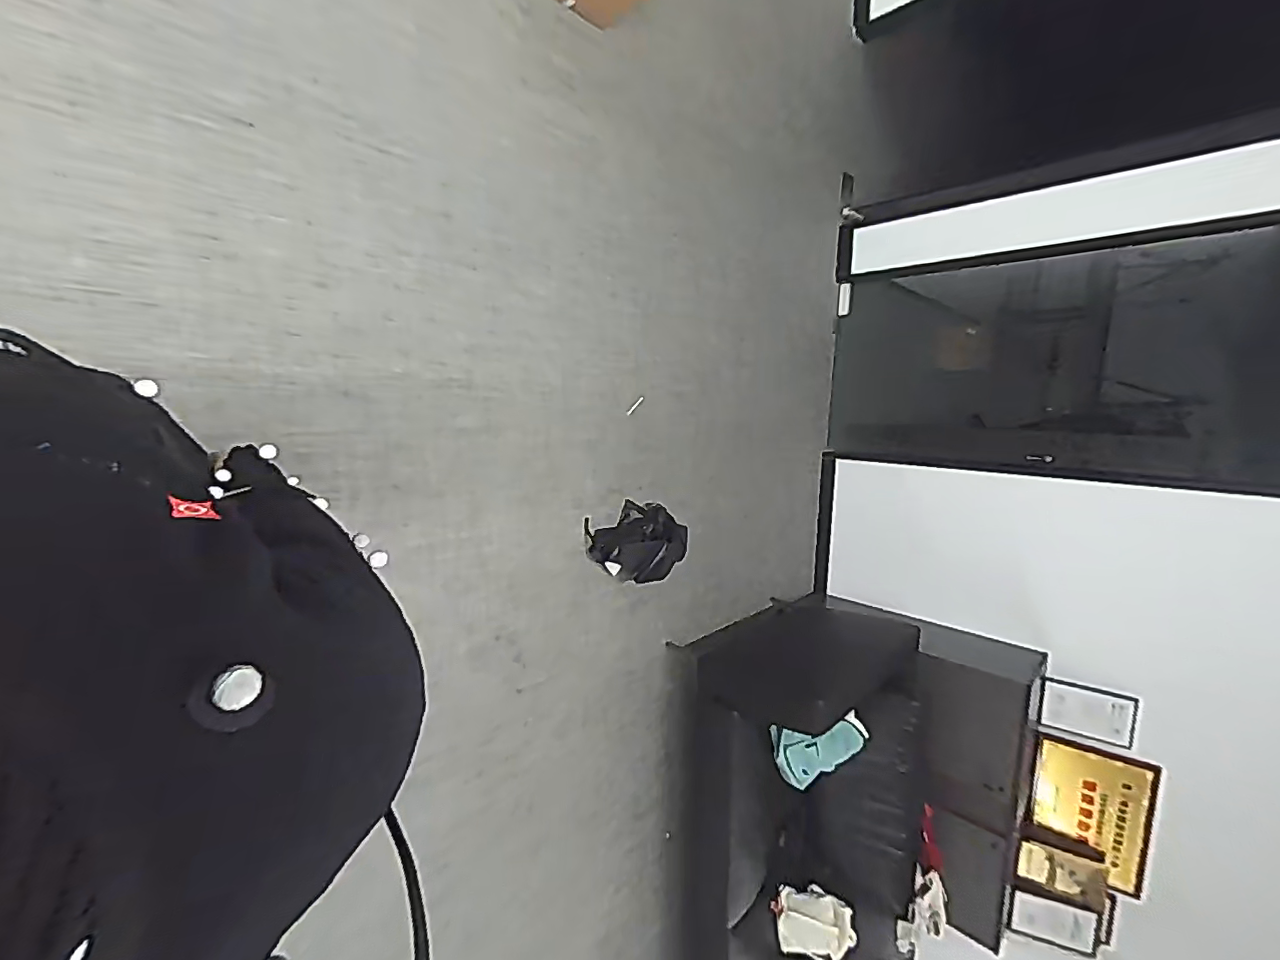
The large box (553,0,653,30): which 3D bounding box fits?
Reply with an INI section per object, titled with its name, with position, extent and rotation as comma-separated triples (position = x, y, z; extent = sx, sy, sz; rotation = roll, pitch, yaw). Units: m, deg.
[large box]
position = -0.107, -1.541, 1.426
extent = 0.320, 0.320, 0.408
rotation = -7, 104, -44
